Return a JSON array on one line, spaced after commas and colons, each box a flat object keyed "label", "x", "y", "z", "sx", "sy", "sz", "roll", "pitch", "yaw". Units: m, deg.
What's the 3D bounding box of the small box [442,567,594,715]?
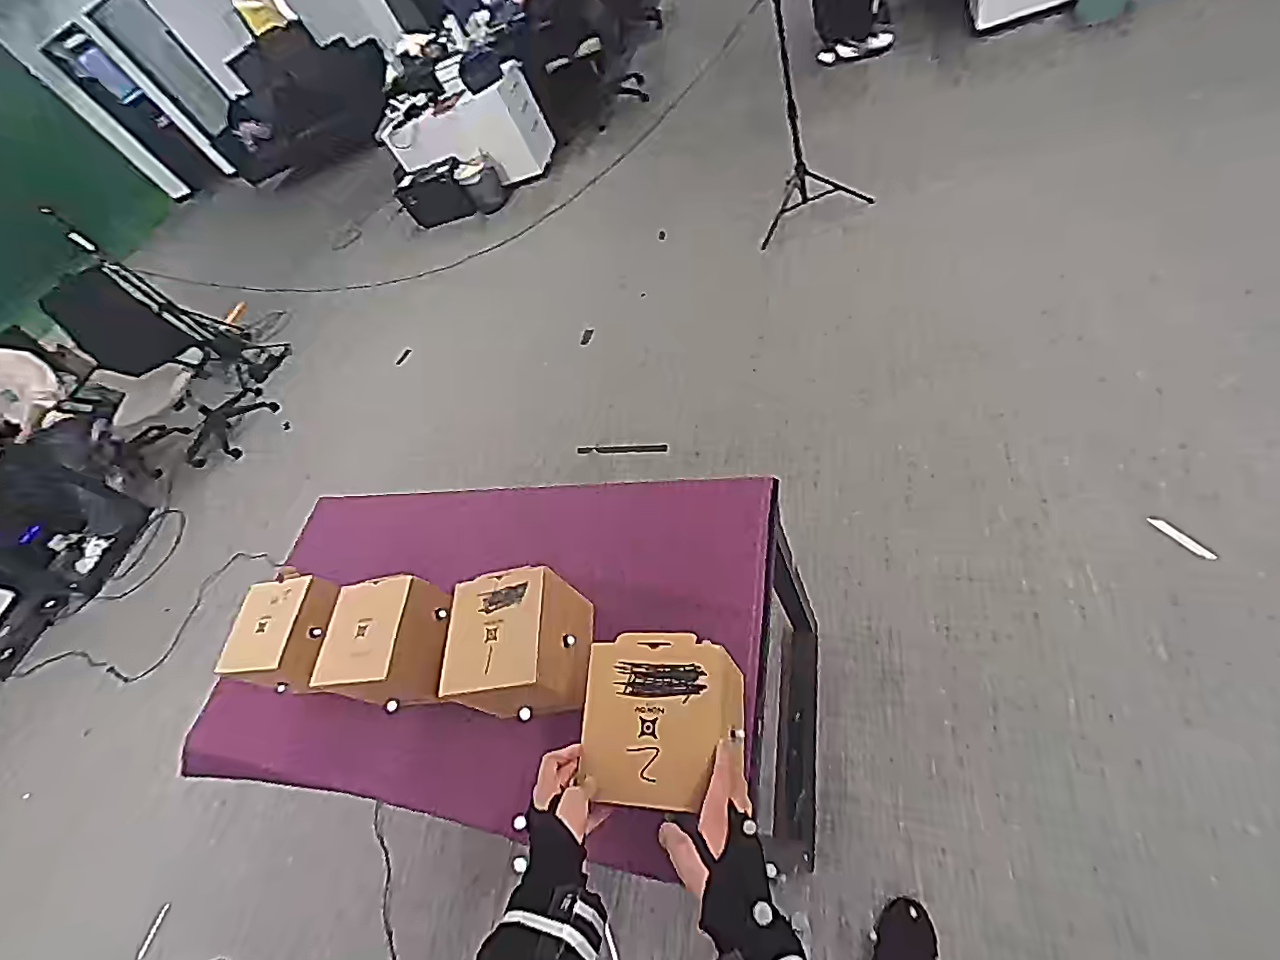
[{"label": "small box", "x": -0.181, "y": 0.262, "z": 0.862, "sx": 0.168, "sy": 0.176, "sz": 0.179, "roll": -13, "pitch": 54, "yaw": 18}]

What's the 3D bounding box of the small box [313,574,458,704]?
[{"label": "small box", "x": -0.427, "y": 0.288, "z": 0.965, "sx": 0.168, "sy": 0.176, "sz": 0.179, "roll": -11, "pitch": 54, "yaw": 20}]

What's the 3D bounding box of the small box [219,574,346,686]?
[{"label": "small box", "x": -0.659, "y": 0.303, "z": 1.065, "sx": 0.168, "sy": 0.176, "sz": 0.179, "roll": -9, "pitch": 54, "yaw": 19}]
